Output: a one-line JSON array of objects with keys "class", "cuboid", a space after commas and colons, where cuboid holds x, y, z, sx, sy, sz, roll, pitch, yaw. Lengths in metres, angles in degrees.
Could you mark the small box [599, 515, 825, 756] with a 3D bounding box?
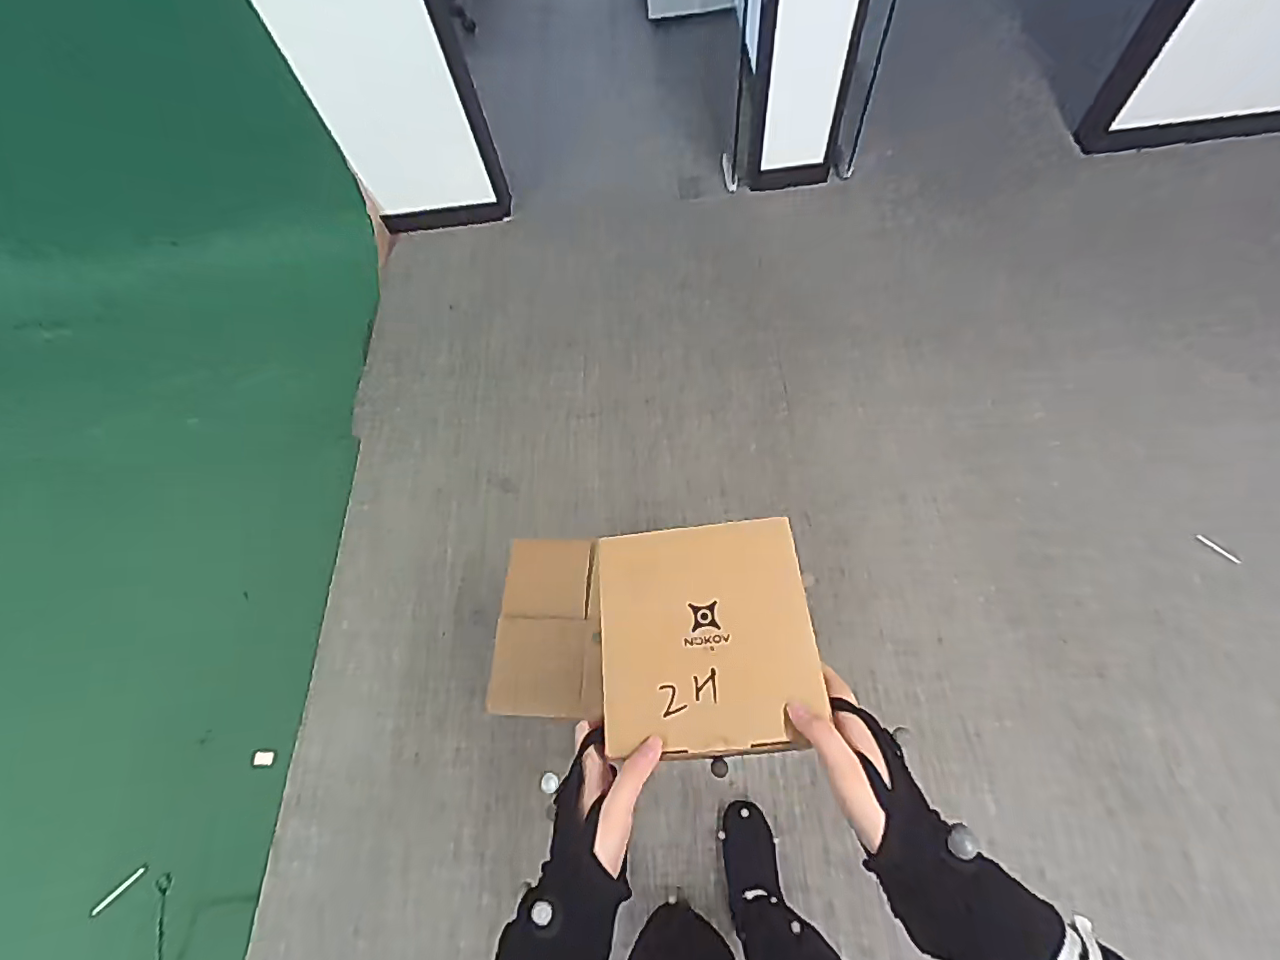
[{"class": "small box", "cuboid": [0.058, 0.152, 0.502, 0.168, 0.176, 0.179, -7, 61, 6]}]
